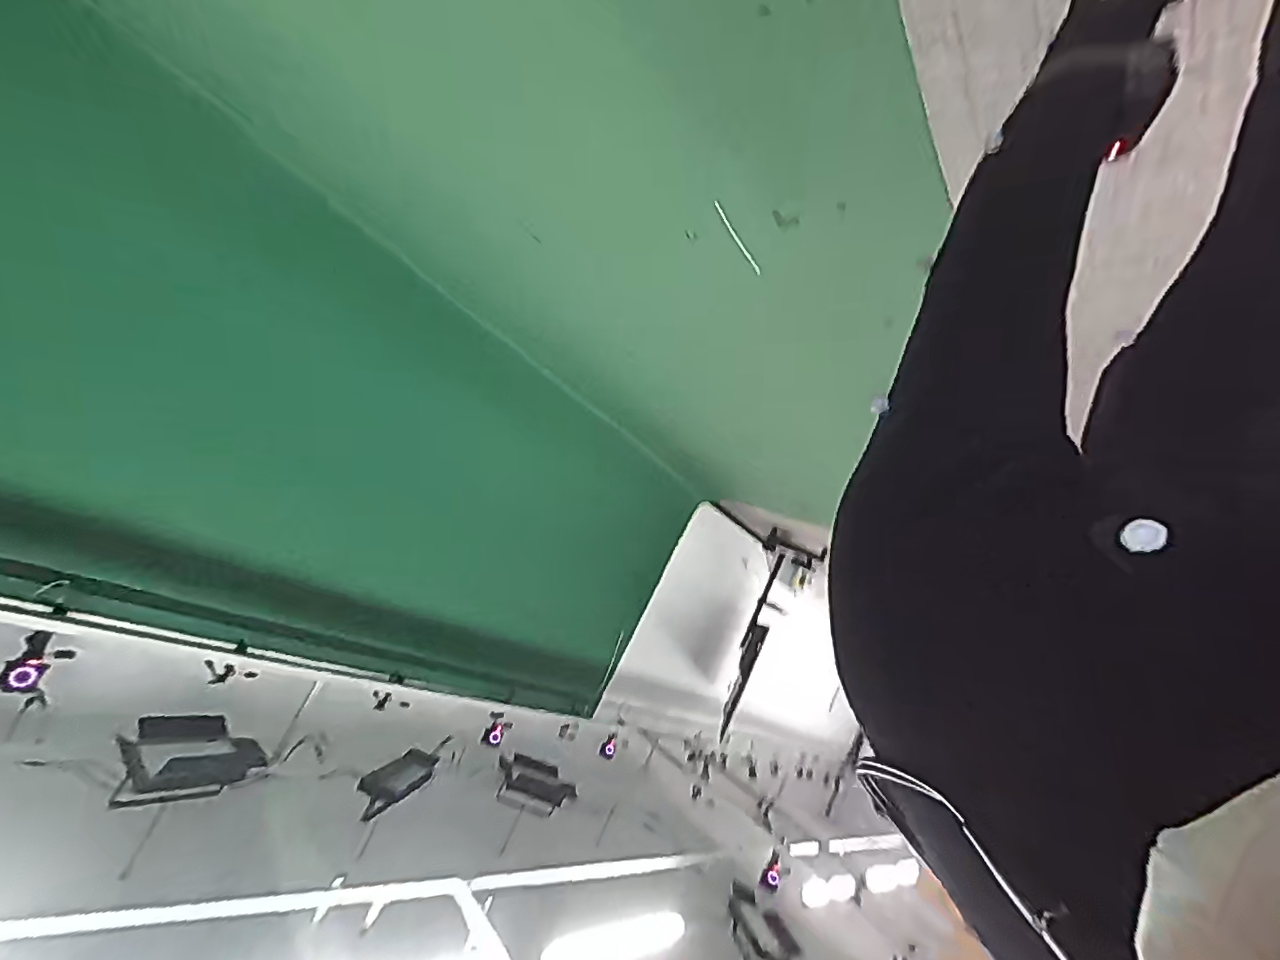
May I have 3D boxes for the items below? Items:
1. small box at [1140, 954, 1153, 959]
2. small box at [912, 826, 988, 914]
[{"bbox_3d":[1.433,1.431,1.448,0.168,0.176,0.179,19,169,44],"label":"small box"},{"bbox_3d":[1.064,1.321,1.844,0.179,0.176,0.168,17,168,45],"label":"small box"}]
